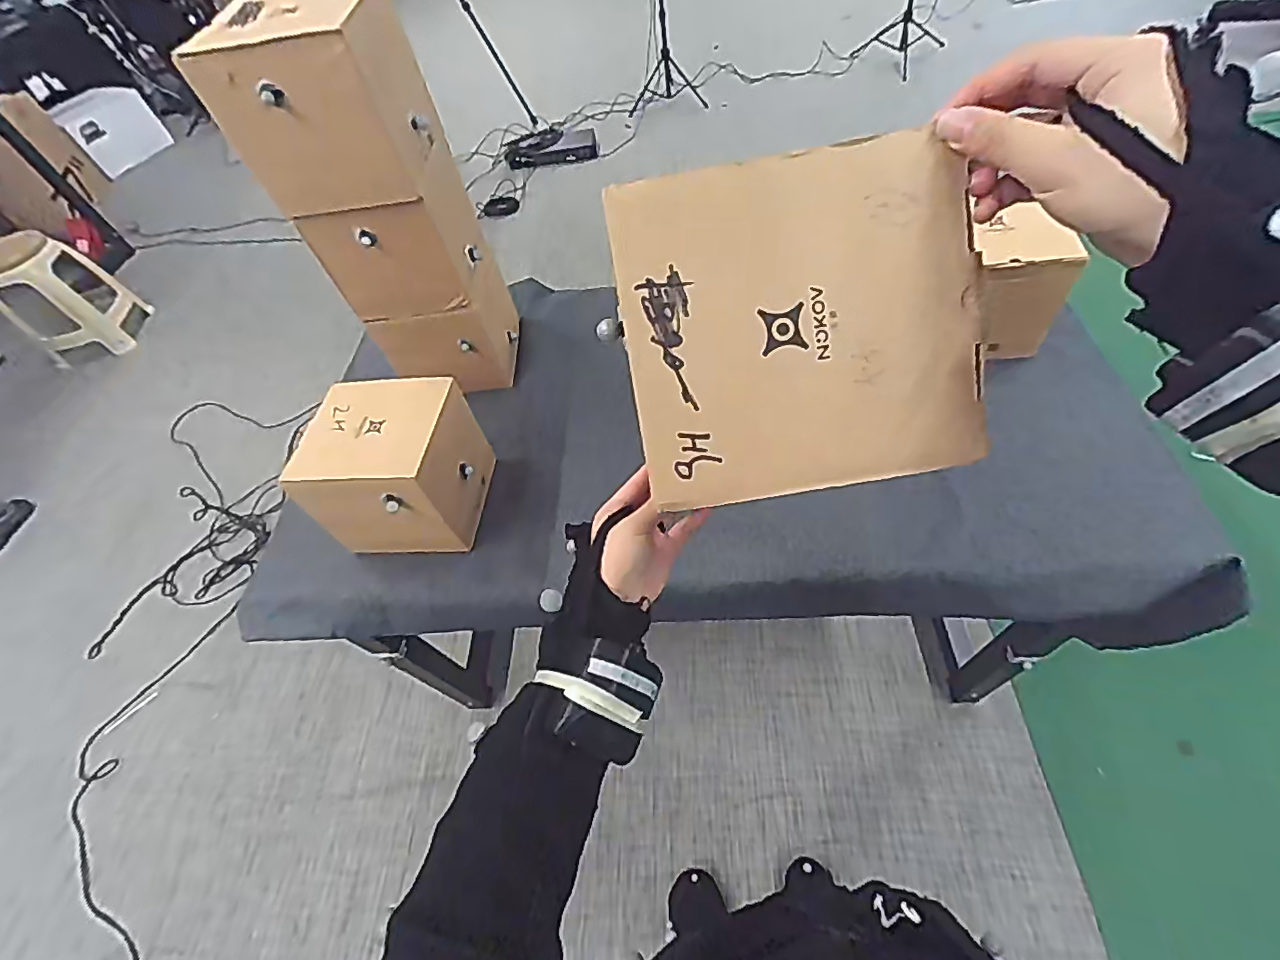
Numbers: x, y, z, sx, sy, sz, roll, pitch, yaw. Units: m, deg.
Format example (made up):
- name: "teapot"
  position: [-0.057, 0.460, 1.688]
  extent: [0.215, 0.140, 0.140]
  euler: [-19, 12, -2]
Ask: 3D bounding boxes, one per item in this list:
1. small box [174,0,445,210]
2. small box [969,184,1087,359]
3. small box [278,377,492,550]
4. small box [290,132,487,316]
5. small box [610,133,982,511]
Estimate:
- name: "small box"
  position: [-0.353, -0.434, 0.620]
  extent: [0.179, 0.176, 0.168]
  euler: [-4, 57, 5]
- name: "small box"
  position: [0.484, -0.295, 0.784]
  extent: [0.168, 0.176, 0.179]
  euler: [-2, 57, 9]
- name: "small box"
  position: [-0.317, -0.017, 0.721]
  extent: [0.179, 0.176, 0.168]
  euler: [-2, 53, 8]
- name: "small box"
  position: [-0.336, -0.351, 0.761]
  extent: [0.179, 0.176, 0.168]
  euler: [-6, 57, 4]
- name: "small box"
  position: [0.081, -0.086, 0.349]
  extent: [0.179, 0.176, 0.168]
  euler: [-8, 98, 2]
